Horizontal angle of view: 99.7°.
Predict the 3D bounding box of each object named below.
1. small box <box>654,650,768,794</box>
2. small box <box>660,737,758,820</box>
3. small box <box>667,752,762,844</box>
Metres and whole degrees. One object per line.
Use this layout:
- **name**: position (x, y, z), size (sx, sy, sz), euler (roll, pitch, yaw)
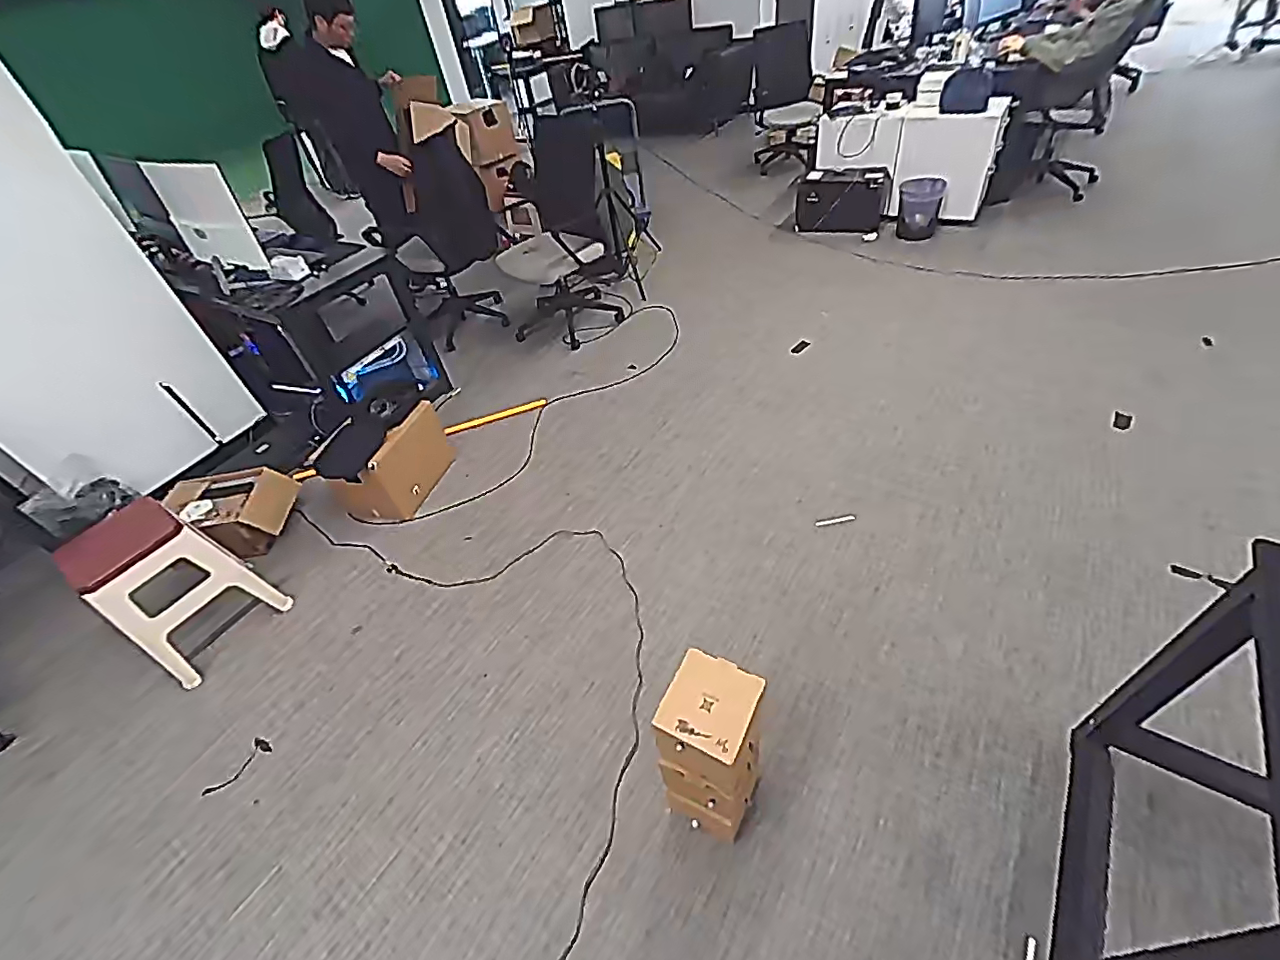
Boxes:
- **small box**: position (0.145, 0.482, 1.081), size (0.168, 0.176, 0.179), euler (17, 49, 26)
- **small box**: position (0.160, 0.607, 1.188), size (0.168, 0.176, 0.179), euler (15, 48, 23)
- **small box**: position (0.181, 0.727, 1.295), size (0.168, 0.176, 0.179), euler (17, 51, 26)
